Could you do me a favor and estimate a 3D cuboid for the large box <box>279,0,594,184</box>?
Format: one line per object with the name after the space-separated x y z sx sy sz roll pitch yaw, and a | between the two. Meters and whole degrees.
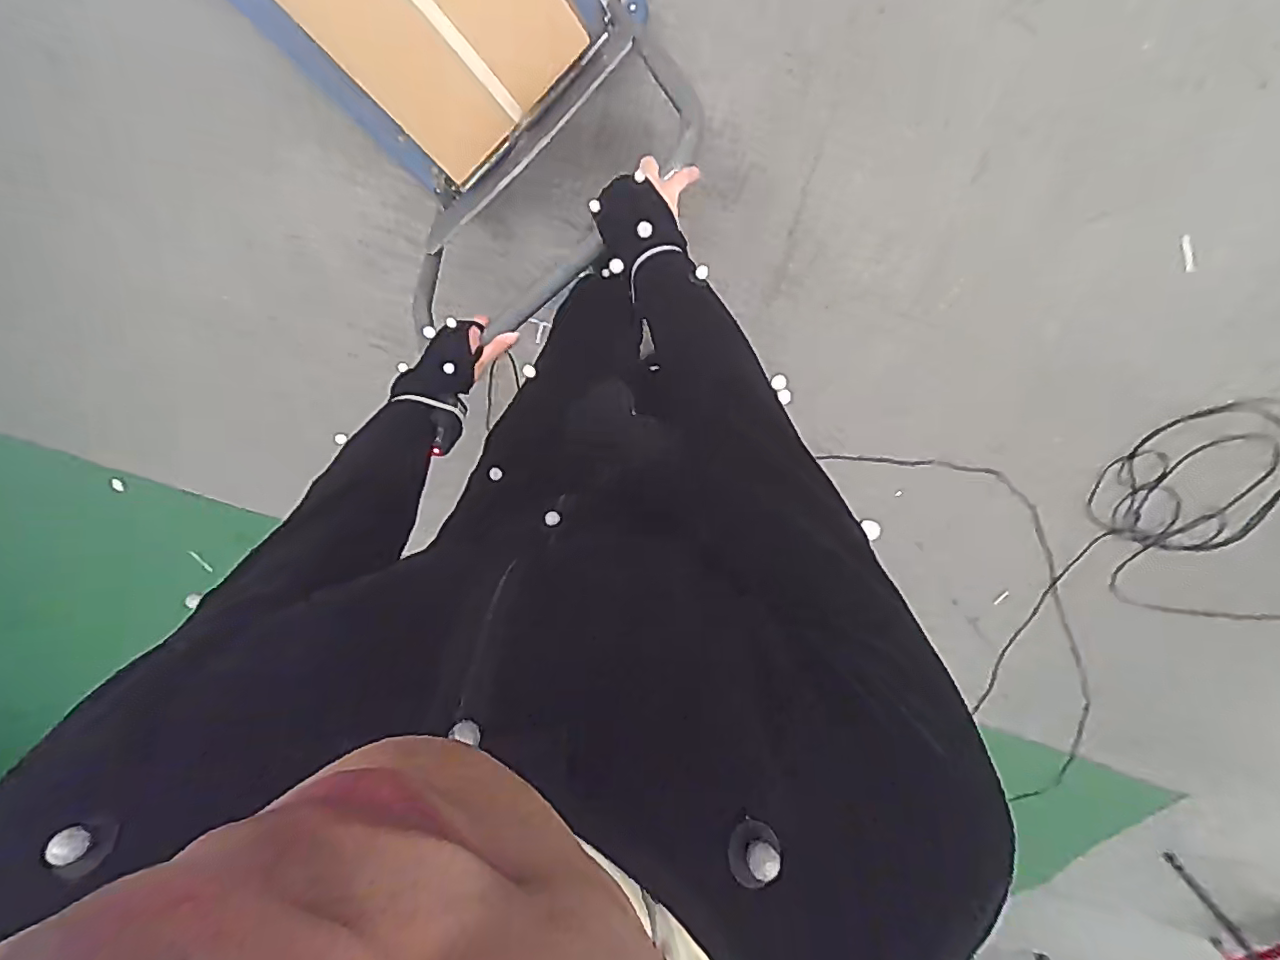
-0.319 -0.781 0.857 0.320 0.320 0.408 -33 130 22 | large box
